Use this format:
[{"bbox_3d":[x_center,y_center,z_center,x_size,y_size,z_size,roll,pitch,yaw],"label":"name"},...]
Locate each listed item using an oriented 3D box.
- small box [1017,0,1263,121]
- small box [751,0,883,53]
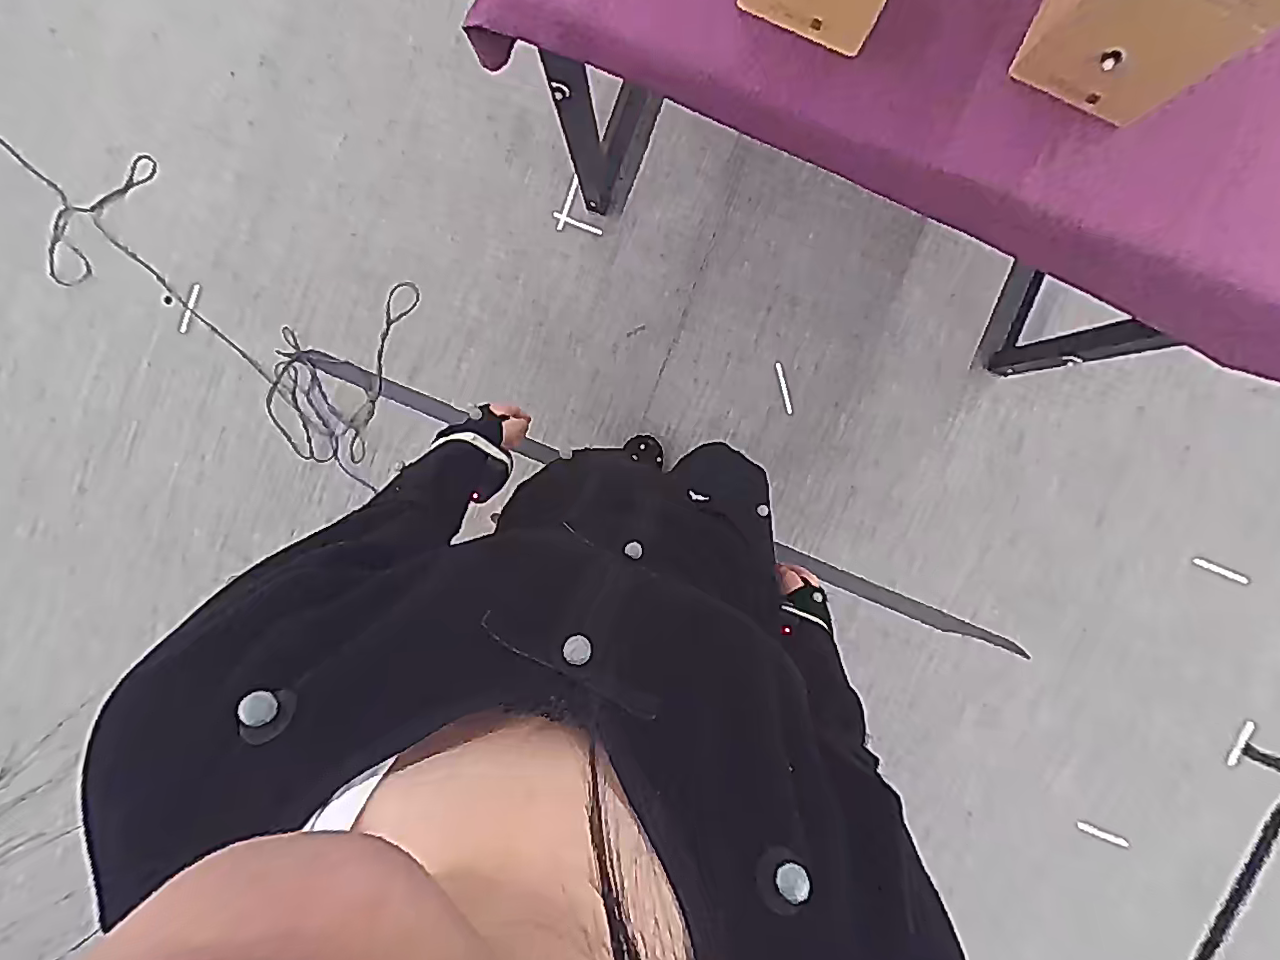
[{"bbox_3d":[0.574,-0.554,0.605,0.168,0.176,0.179,25,94,-1],"label":"small box"},{"bbox_3d":[0.230,-0.643,0.608,0.168,0.176,0.179,23,94,-1],"label":"small box"}]
